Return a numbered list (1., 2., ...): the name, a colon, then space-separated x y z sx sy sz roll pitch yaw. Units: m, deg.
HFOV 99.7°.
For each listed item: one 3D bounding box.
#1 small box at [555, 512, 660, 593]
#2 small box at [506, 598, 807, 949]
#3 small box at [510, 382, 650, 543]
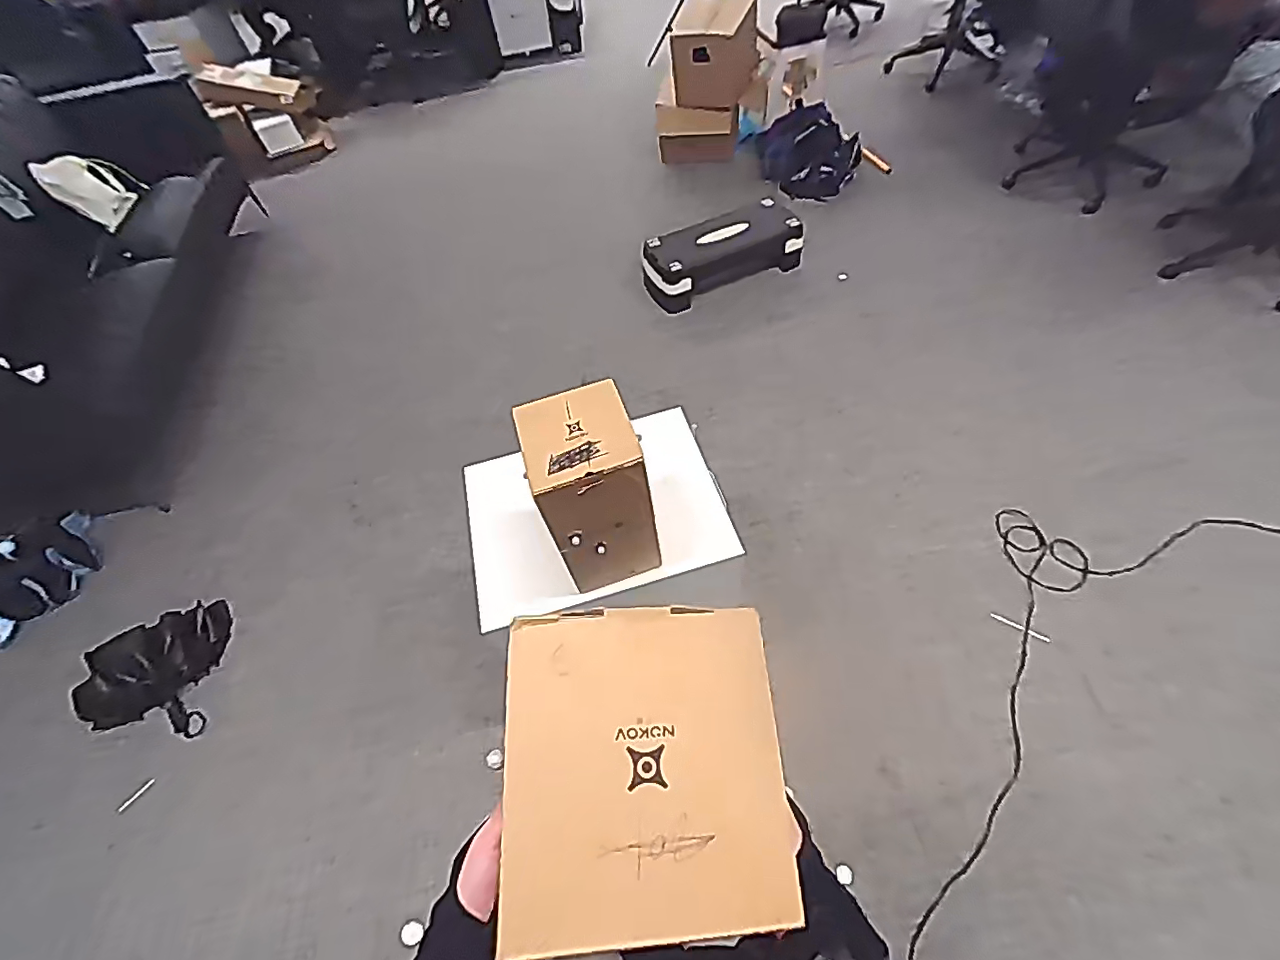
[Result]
1. small box: -0.072 0.077 0.993 0.168 0.176 0.179 -20 53 -6
2. small box: -0.004 0.193 0.392 0.168 0.176 0.179 -1 66 -8
3. small box: -0.091 -0.019 0.861 0.168 0.176 0.179 -19 53 -6
